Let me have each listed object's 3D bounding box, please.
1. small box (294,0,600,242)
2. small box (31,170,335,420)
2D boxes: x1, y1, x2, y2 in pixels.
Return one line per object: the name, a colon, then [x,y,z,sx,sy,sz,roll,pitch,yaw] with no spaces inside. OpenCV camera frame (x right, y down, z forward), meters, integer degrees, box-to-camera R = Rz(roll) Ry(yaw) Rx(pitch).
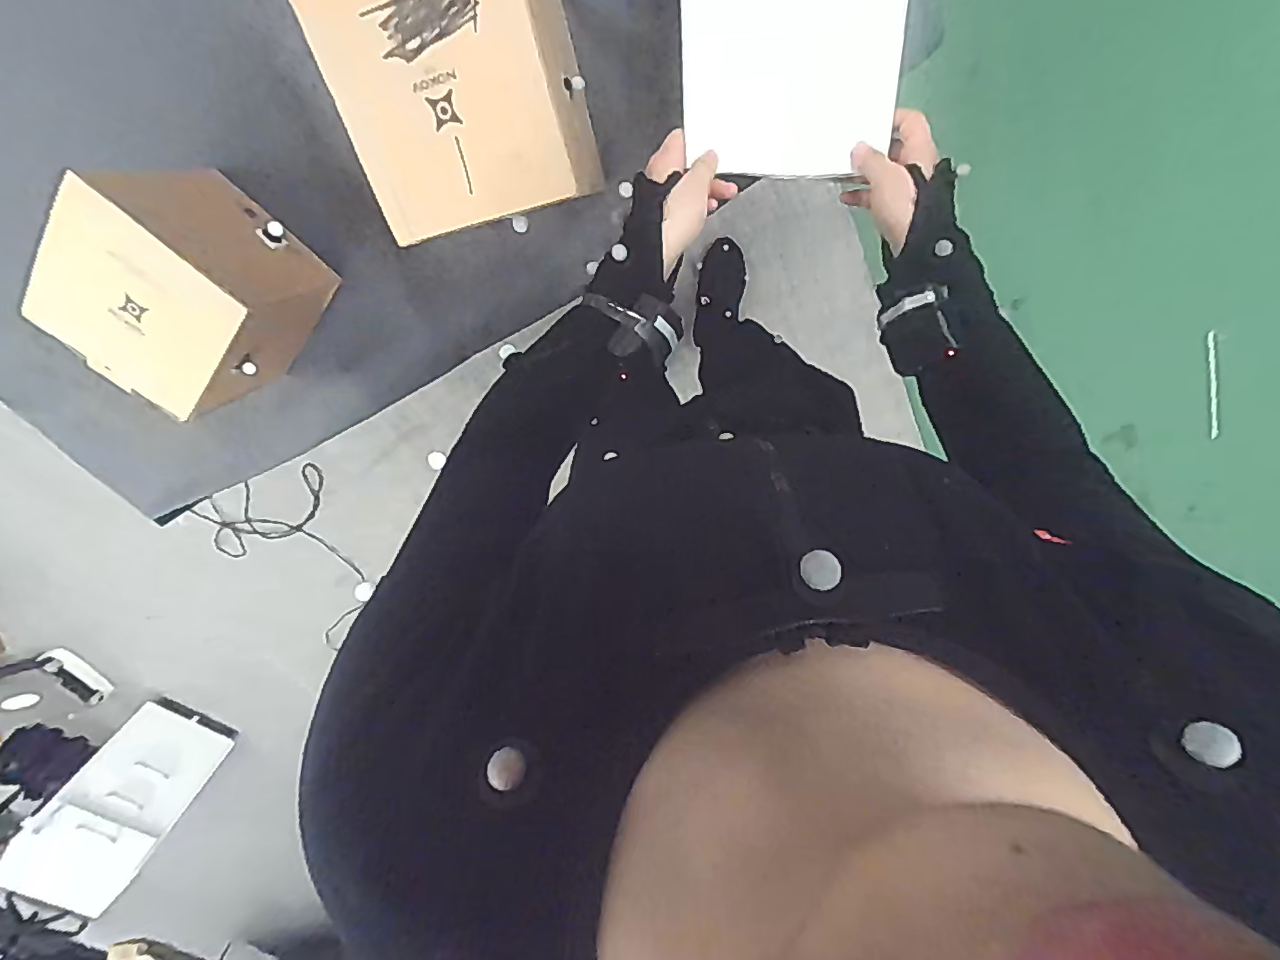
small box: [-0.144,-0.330,0.479,0.168,0.176,0.179,-10,120,12]
small box: [-0.477,-0.204,0.590,0.168,0.176,0.179,41,115,-19]
